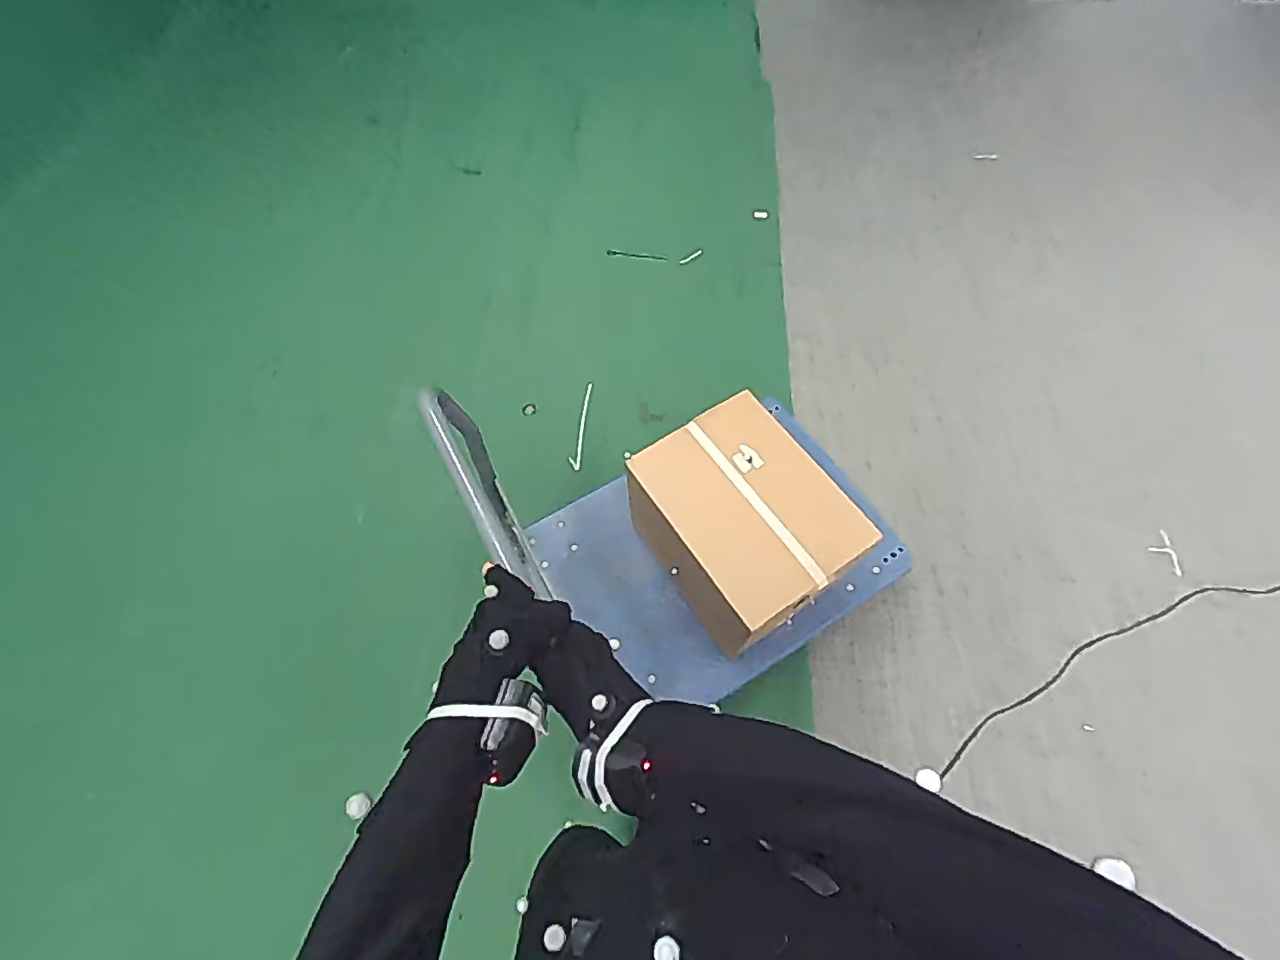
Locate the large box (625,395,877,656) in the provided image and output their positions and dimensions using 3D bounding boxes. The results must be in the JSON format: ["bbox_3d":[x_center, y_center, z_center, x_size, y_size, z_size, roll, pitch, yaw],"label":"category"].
[{"bbox_3d":[0.211,0.106,1.170,0.320,0.320,0.408,-31,66,-14],"label":"large box"}]
